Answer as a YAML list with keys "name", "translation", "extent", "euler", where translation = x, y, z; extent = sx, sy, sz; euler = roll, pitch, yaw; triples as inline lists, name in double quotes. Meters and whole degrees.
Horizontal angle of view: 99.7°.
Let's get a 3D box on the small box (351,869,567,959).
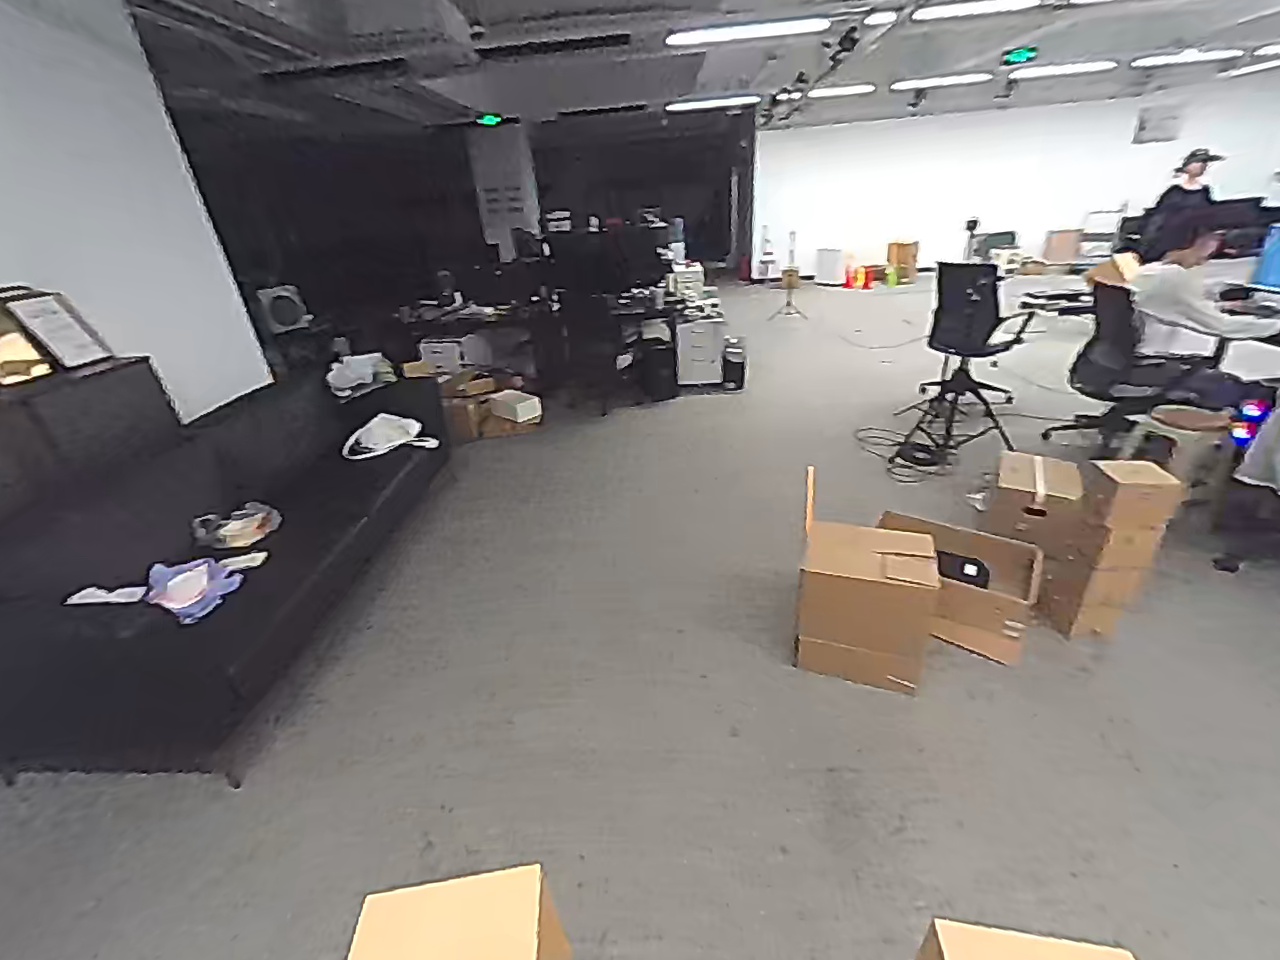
- name: "small box"
  translation: [-0.154, 0.486, 0.467]
  extent: [0.168, 0.176, 0.179]
  euler: [-8, 28, -3]
